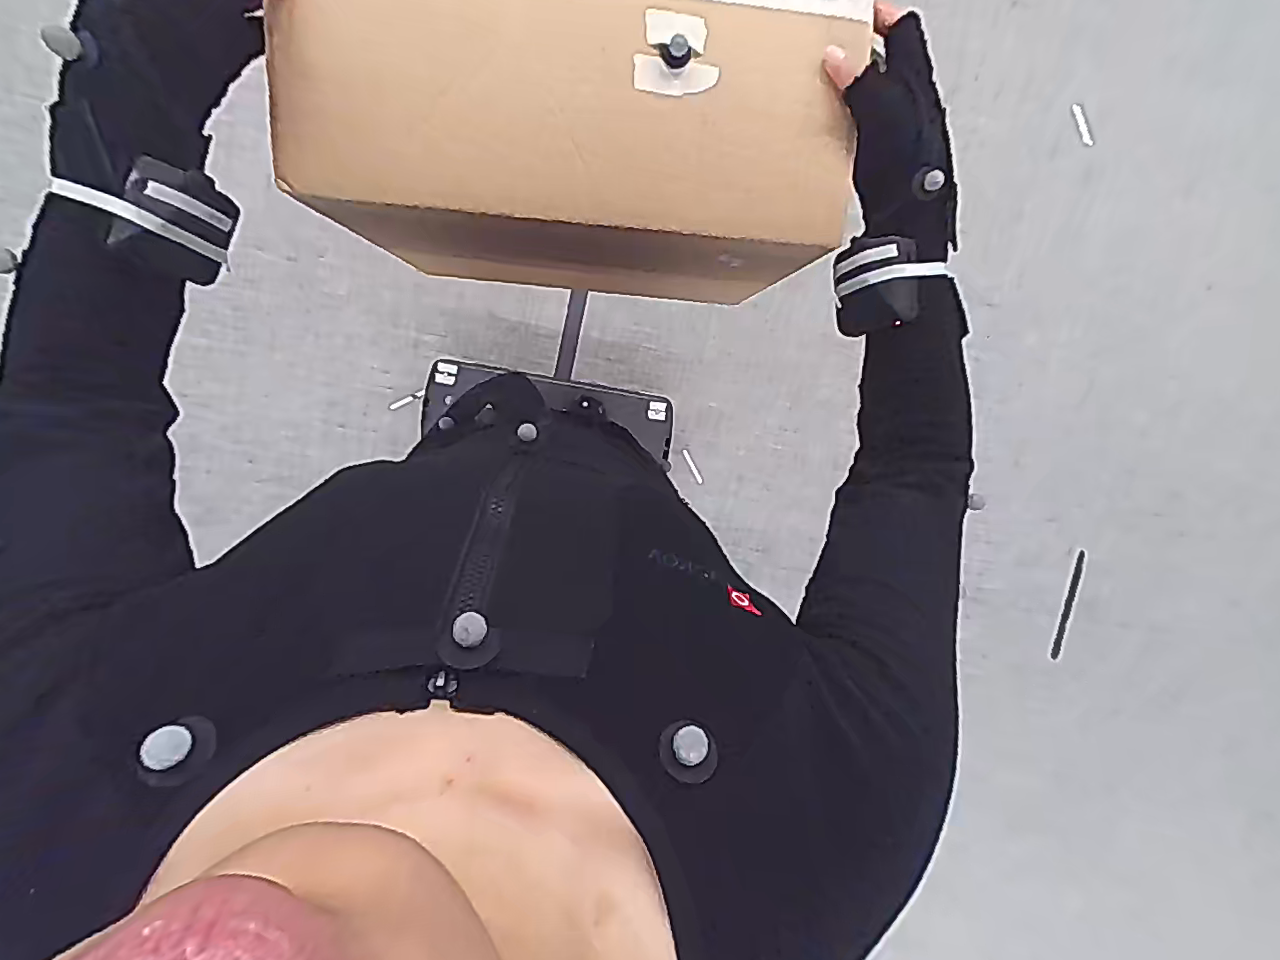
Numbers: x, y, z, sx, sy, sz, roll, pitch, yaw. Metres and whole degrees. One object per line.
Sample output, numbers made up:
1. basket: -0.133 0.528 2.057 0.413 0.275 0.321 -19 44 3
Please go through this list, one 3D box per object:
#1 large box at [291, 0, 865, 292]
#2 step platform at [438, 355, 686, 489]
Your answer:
1. large box: -0.048 -0.377 0.520 0.408 0.320 0.320 4 101 -5
2. step platform: -0.214 -0.161 1.547 0.684 0.204 0.286 8 97 -7
